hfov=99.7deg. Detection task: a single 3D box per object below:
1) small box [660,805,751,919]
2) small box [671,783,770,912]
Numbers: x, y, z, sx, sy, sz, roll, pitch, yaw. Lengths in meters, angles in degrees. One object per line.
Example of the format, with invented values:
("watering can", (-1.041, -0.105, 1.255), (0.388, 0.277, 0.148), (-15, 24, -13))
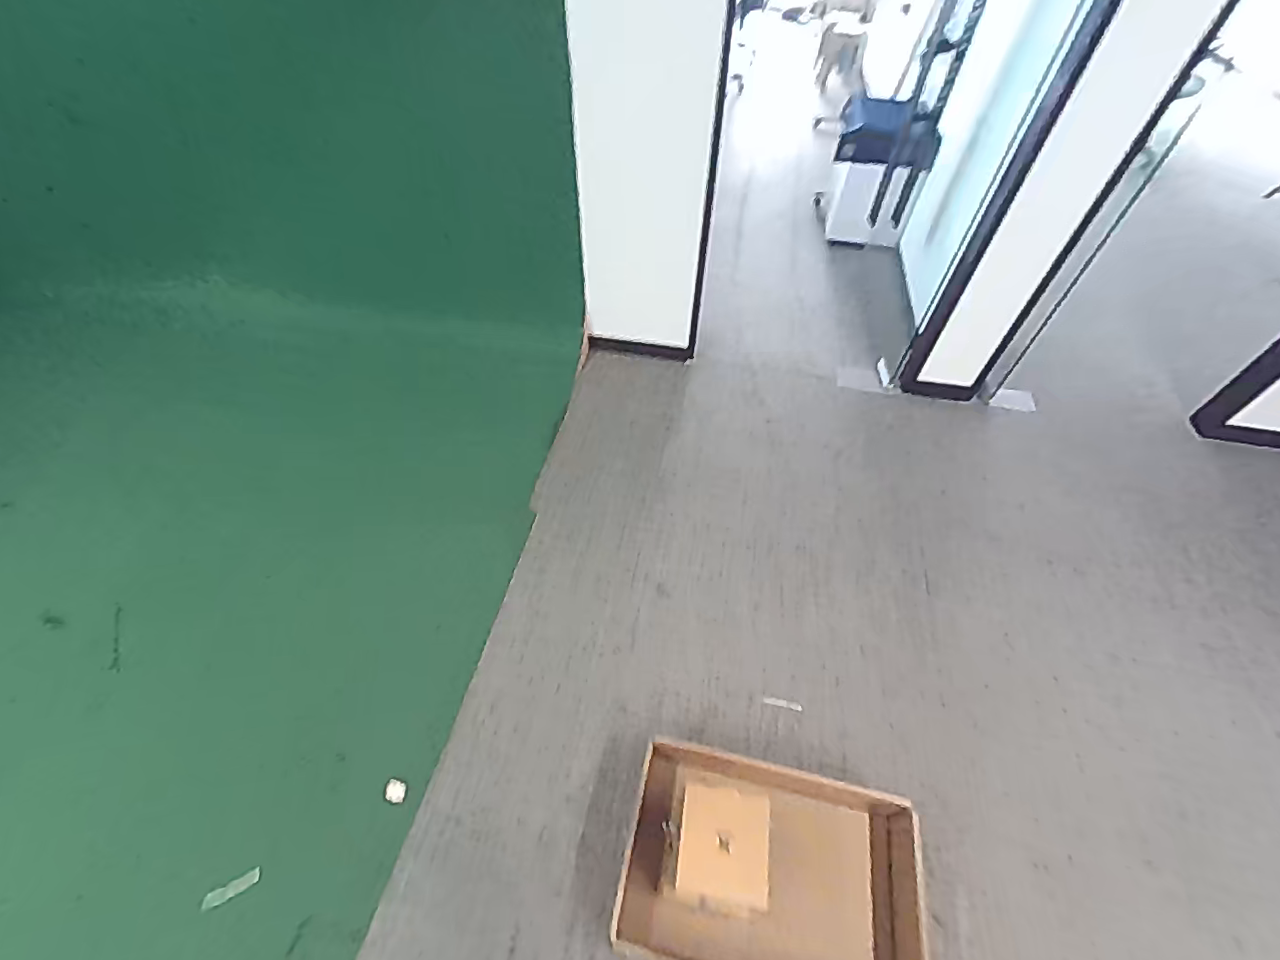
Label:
("small box", (0.146, 0.834, 1.179), (0.179, 0.176, 0.168), (12, 52, 5))
("small box", (0.155, 0.722, 1.061), (0.168, 0.176, 0.179), (9, 51, 5))
